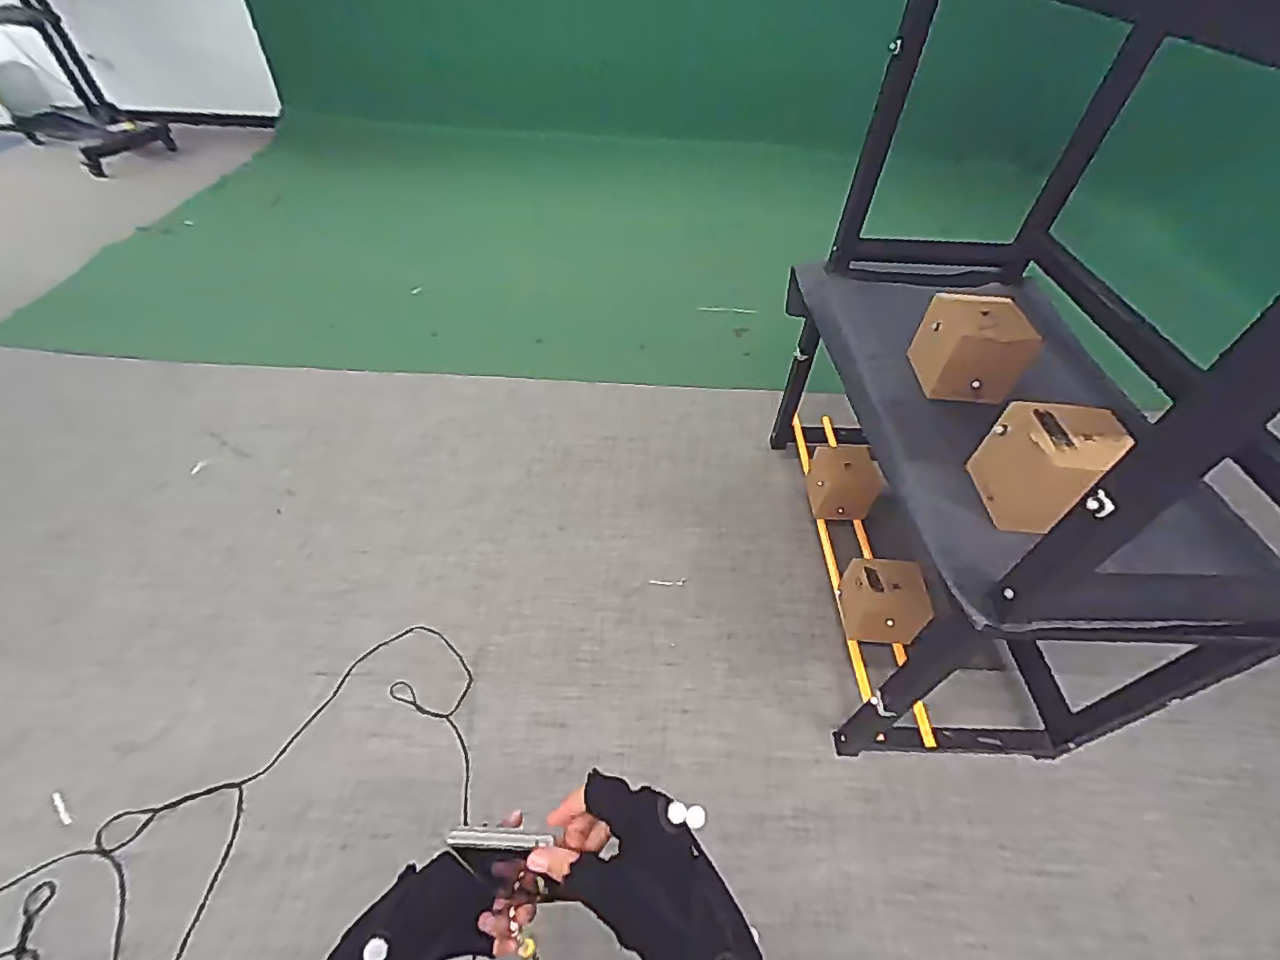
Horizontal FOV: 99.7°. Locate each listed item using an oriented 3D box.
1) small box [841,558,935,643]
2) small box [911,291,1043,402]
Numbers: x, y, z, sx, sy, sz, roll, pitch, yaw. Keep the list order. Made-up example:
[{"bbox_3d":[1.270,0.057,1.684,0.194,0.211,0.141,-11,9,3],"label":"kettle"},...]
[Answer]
[{"bbox_3d":[0.663,0.331,1.476,0.179,0.176,0.168,4,48,1],"label":"small box"},{"bbox_3d":[0.737,-0.298,1.209,0.168,0.176,0.179,4,47,1],"label":"small box"}]
